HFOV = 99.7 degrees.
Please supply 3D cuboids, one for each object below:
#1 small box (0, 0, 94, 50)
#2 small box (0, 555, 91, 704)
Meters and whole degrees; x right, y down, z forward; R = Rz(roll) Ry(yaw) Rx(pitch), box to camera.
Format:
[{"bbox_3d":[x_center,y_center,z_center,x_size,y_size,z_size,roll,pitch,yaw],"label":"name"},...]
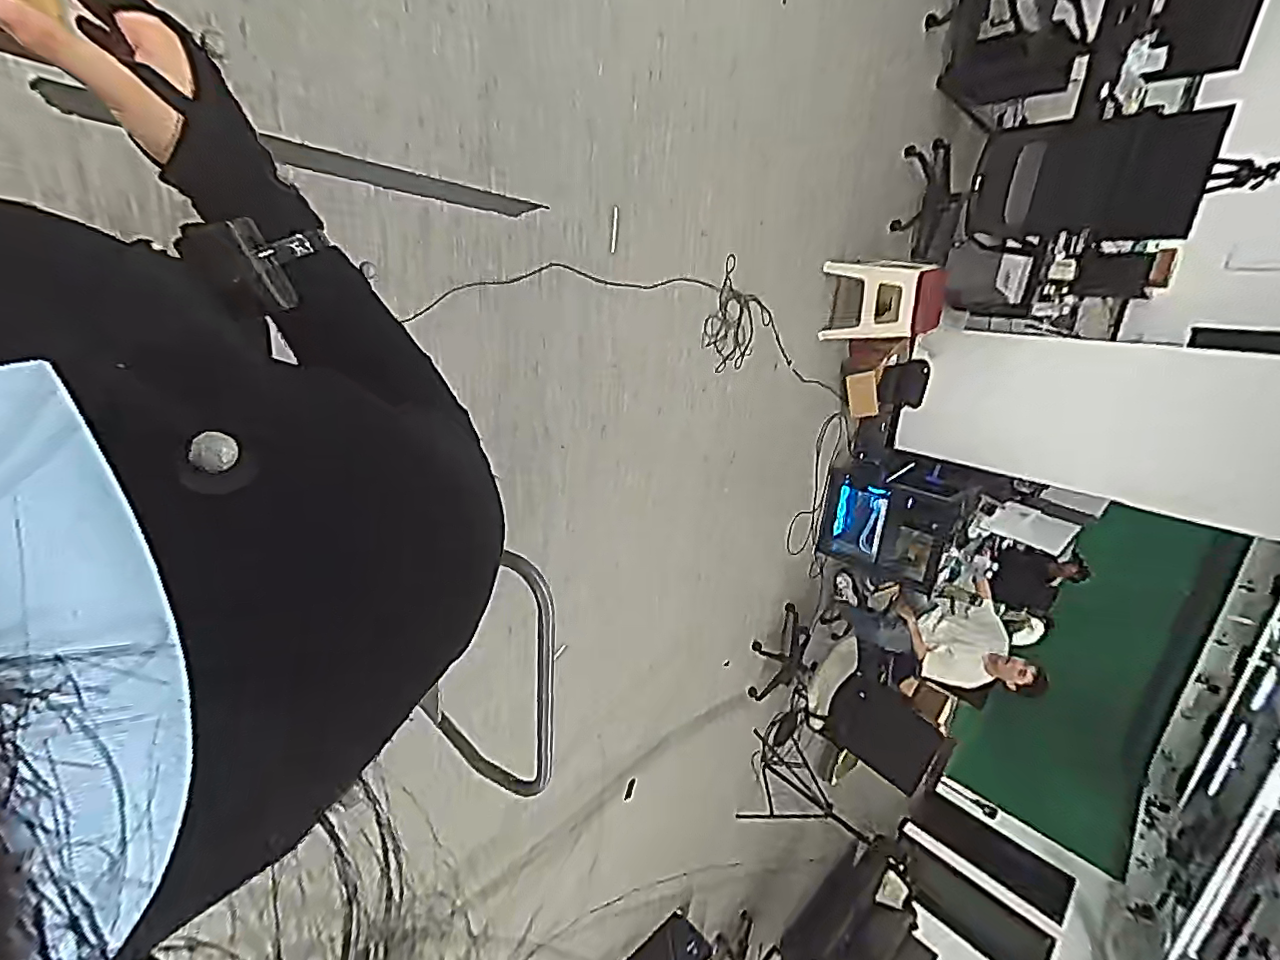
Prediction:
[{"bbox_3d":[-0.404,-0.349,0.265,0.168,0.176,0.179,-12,123,-45],"label":"small box"},{"bbox_3d":[-1.029,0.245,0.890,0.168,0.176,0.179,-8,111,-45],"label":"small box"}]
